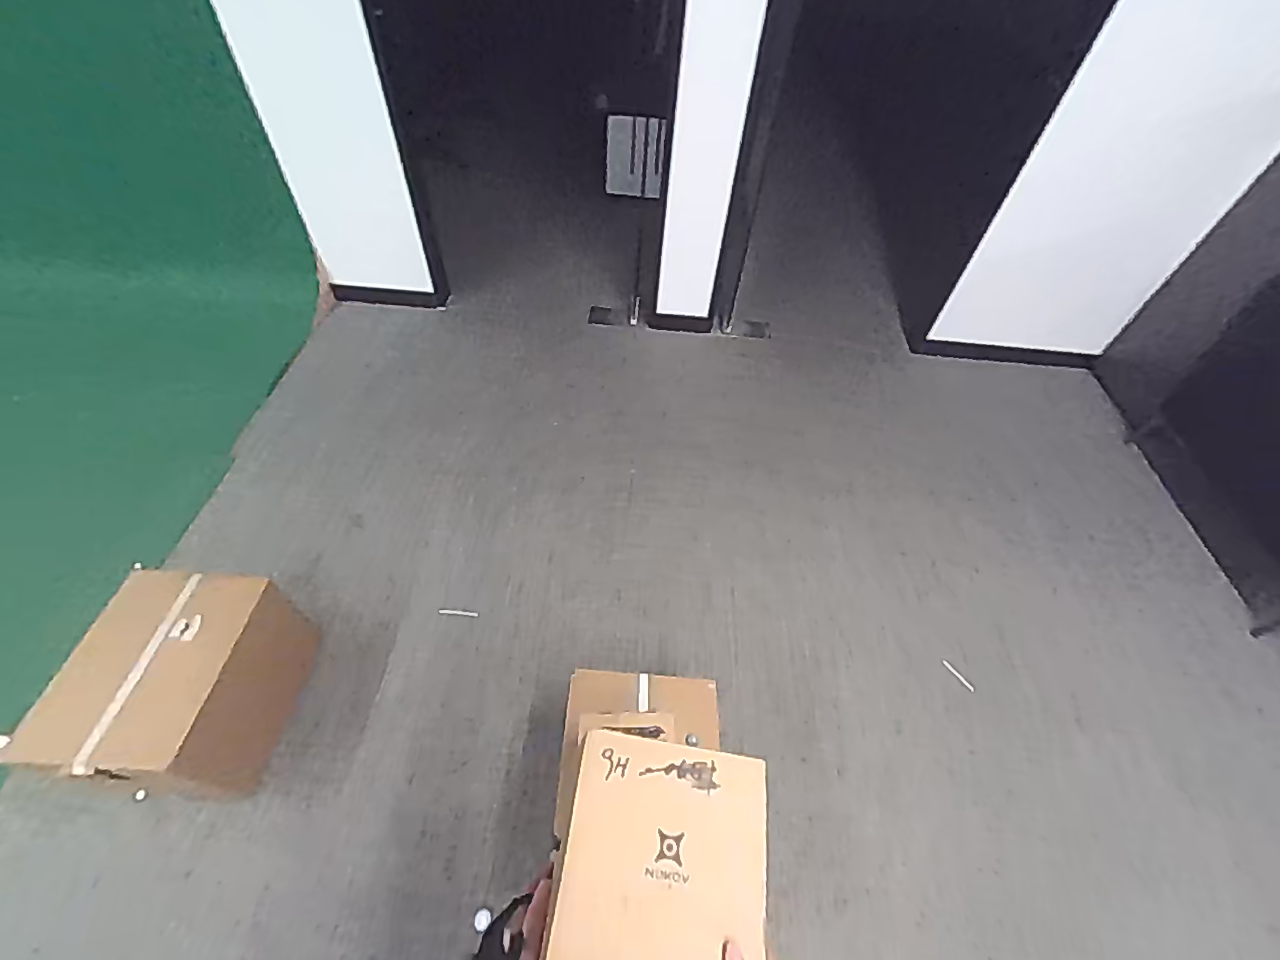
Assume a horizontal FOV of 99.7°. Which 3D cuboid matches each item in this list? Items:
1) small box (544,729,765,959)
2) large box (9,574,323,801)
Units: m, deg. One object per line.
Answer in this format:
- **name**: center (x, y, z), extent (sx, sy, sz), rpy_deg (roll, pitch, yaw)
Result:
- **small box**: center (0.010, 0.354, 0.507), extent (0.168, 0.176, 0.179), rpy_deg (11, 55, -3)
- **large box**: center (-1.008, 0.472, 1.227), extent (0.320, 0.320, 0.408), rpy_deg (4, 50, -1)
